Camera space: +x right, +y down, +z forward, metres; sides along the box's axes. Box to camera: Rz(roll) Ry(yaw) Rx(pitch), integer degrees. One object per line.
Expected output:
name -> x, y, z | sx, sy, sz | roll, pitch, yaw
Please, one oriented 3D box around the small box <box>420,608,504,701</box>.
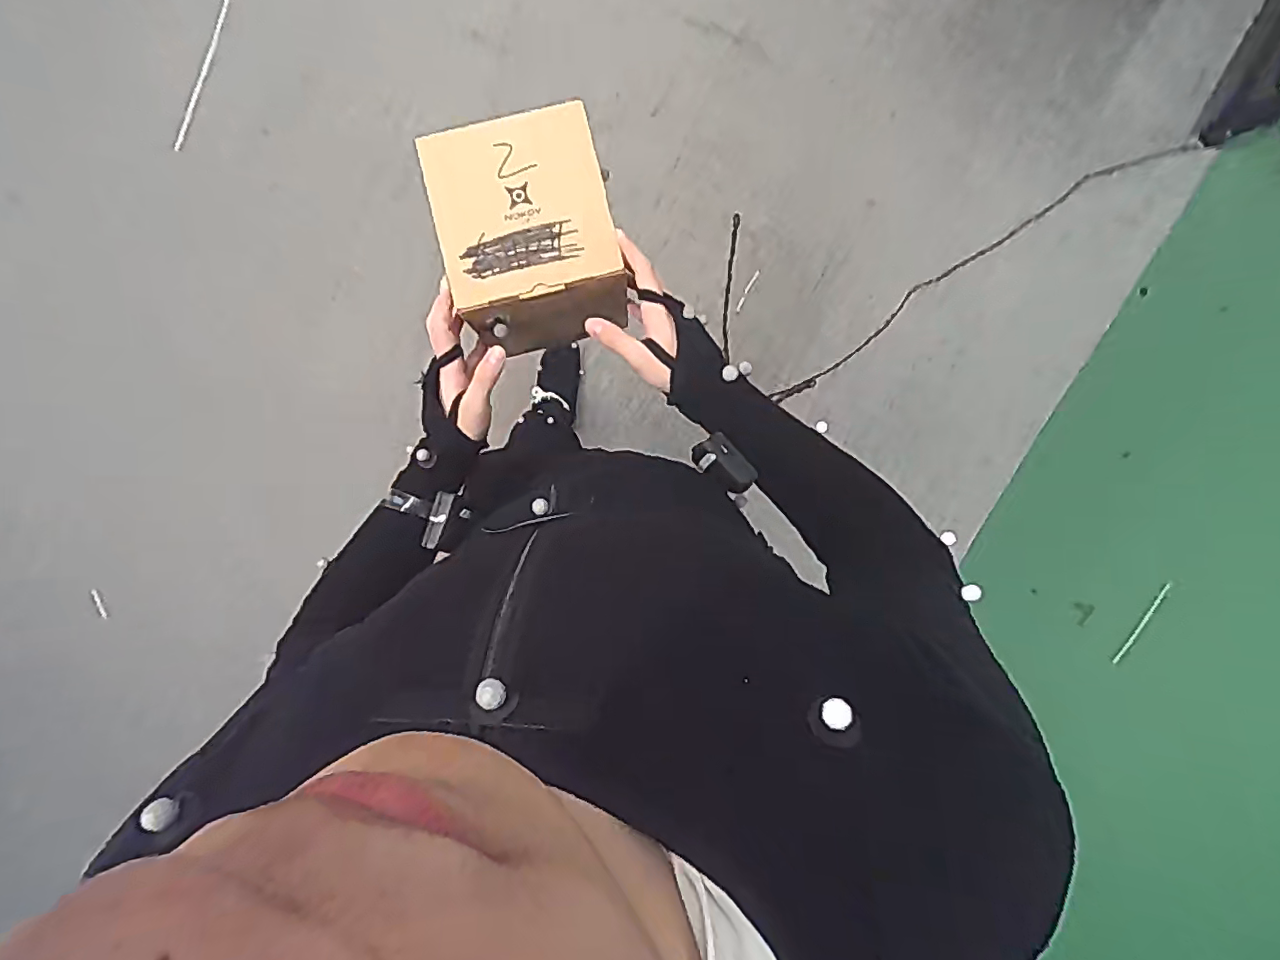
small box -> -0.518, 0.510, 1.603 | 0.168, 0.176, 0.179 | 26, 98, -7
